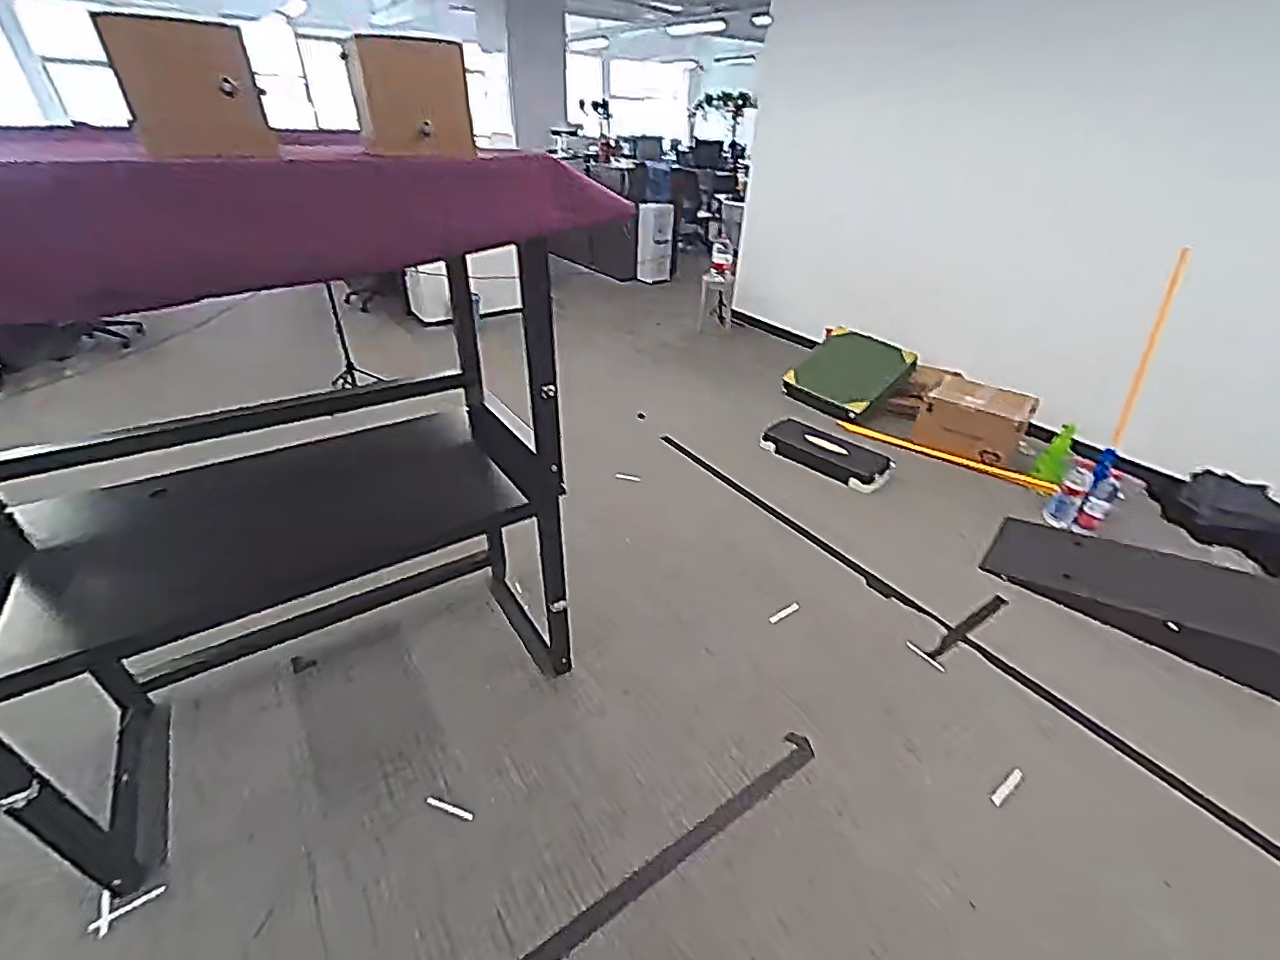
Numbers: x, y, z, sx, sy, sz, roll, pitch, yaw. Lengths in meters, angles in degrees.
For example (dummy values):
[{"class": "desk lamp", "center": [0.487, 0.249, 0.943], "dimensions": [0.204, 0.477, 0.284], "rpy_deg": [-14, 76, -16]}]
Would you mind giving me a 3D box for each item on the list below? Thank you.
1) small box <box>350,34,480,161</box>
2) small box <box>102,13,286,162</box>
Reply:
[{"class": "small box", "center": [-0.398, -0.681, 0.976], "dimensions": [0.179, 0.176, 0.168], "rpy_deg": [-17, 37, -27]}, {"class": "small box", "center": [-0.677, -0.603, 0.847], "dimensions": [0.179, 0.176, 0.168], "rpy_deg": [-18, 37, -27]}]
